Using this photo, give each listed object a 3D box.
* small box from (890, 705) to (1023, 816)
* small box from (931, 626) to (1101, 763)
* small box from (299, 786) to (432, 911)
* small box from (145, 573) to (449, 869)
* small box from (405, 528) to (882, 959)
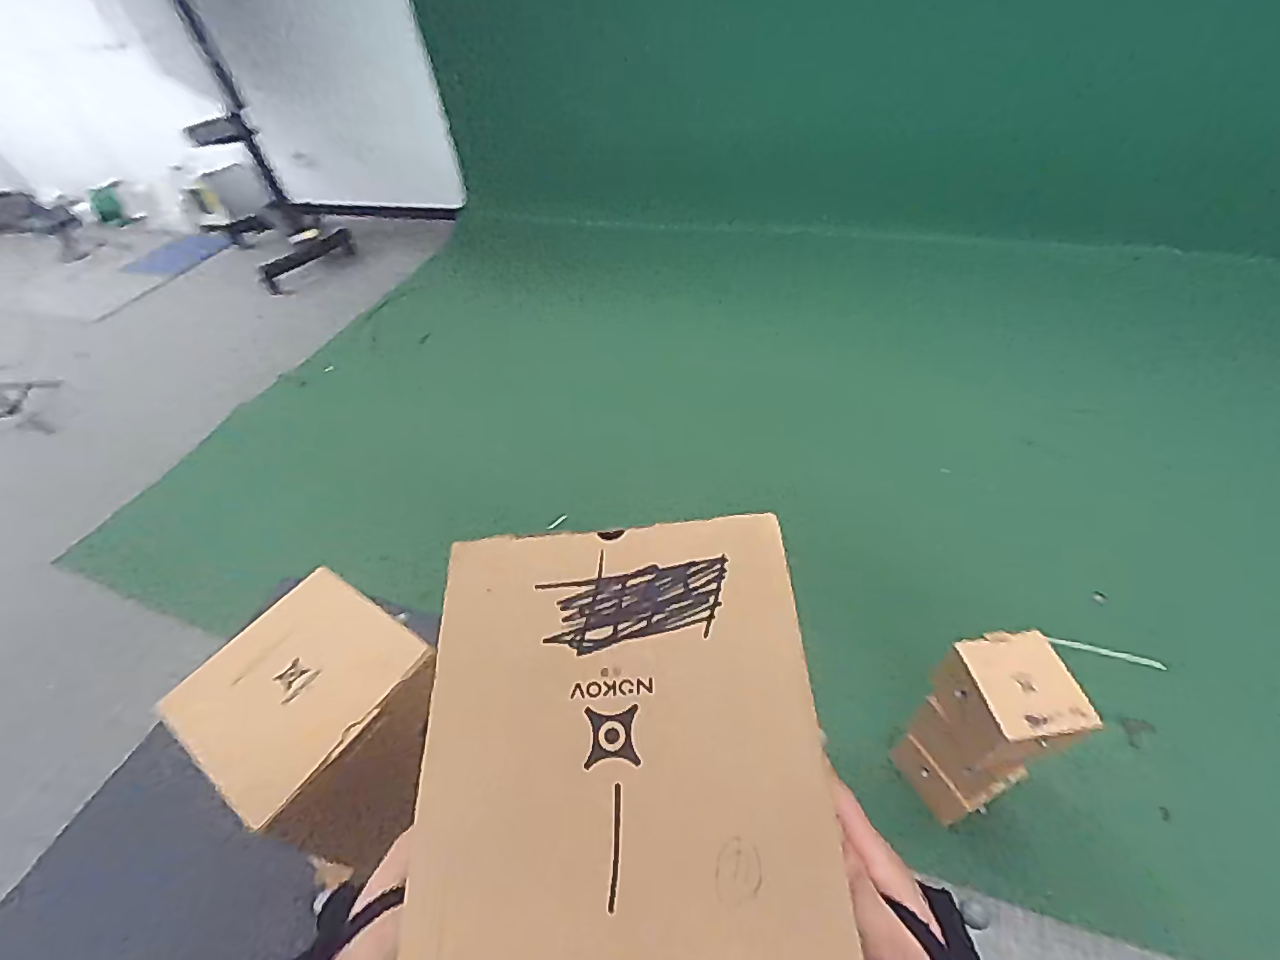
[{"bbox_3d":[0.709,0.635,1.232,0.168,0.176,0.179,-23,49,-14],"label":"small box"},{"bbox_3d":[0.677,0.399,1.004,0.168,0.176,0.179,-9,47,-1],"label":"small box"},{"bbox_3d":[-0.282,0.347,0.616,0.179,0.176,0.168,26,55,30],"label":"small box"},{"bbox_3d":[-0.283,0.225,0.506,0.179,0.176,0.168,21,52,27],"label":"small box"},{"bbox_3d":[0.007,0.144,0.288,0.168,0.176,0.179,-6,59,6],"label":"small box"}]
